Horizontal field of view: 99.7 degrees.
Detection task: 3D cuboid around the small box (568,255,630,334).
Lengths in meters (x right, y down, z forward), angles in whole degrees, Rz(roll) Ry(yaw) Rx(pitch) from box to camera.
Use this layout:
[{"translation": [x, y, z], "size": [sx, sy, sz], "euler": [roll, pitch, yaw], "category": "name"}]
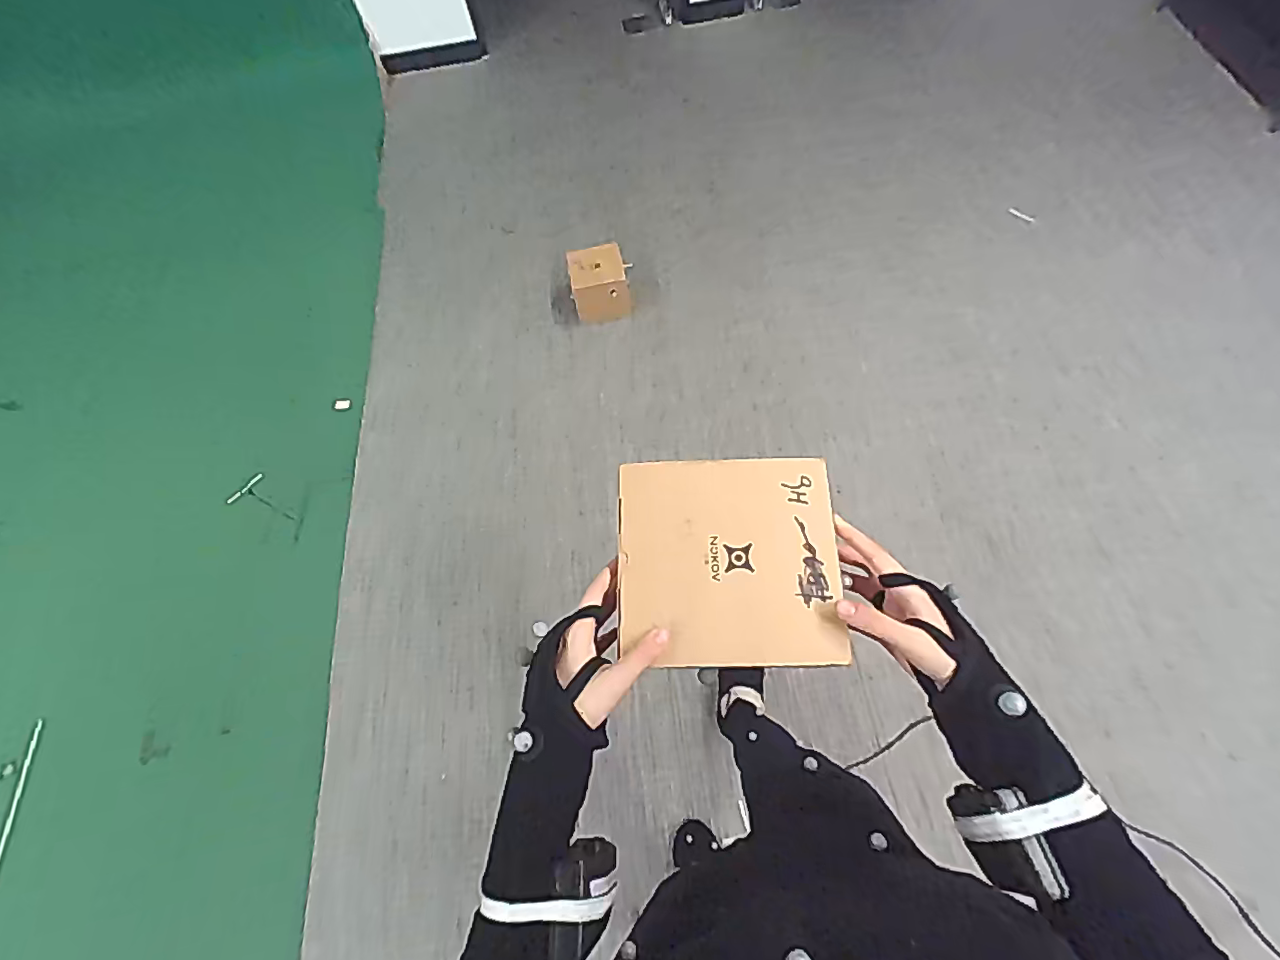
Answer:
[{"translation": [-0.134, -0.617, 1.811], "size": [0.179, 0.176, 0.168], "euler": [-12, 64, 1], "category": "small box"}]
